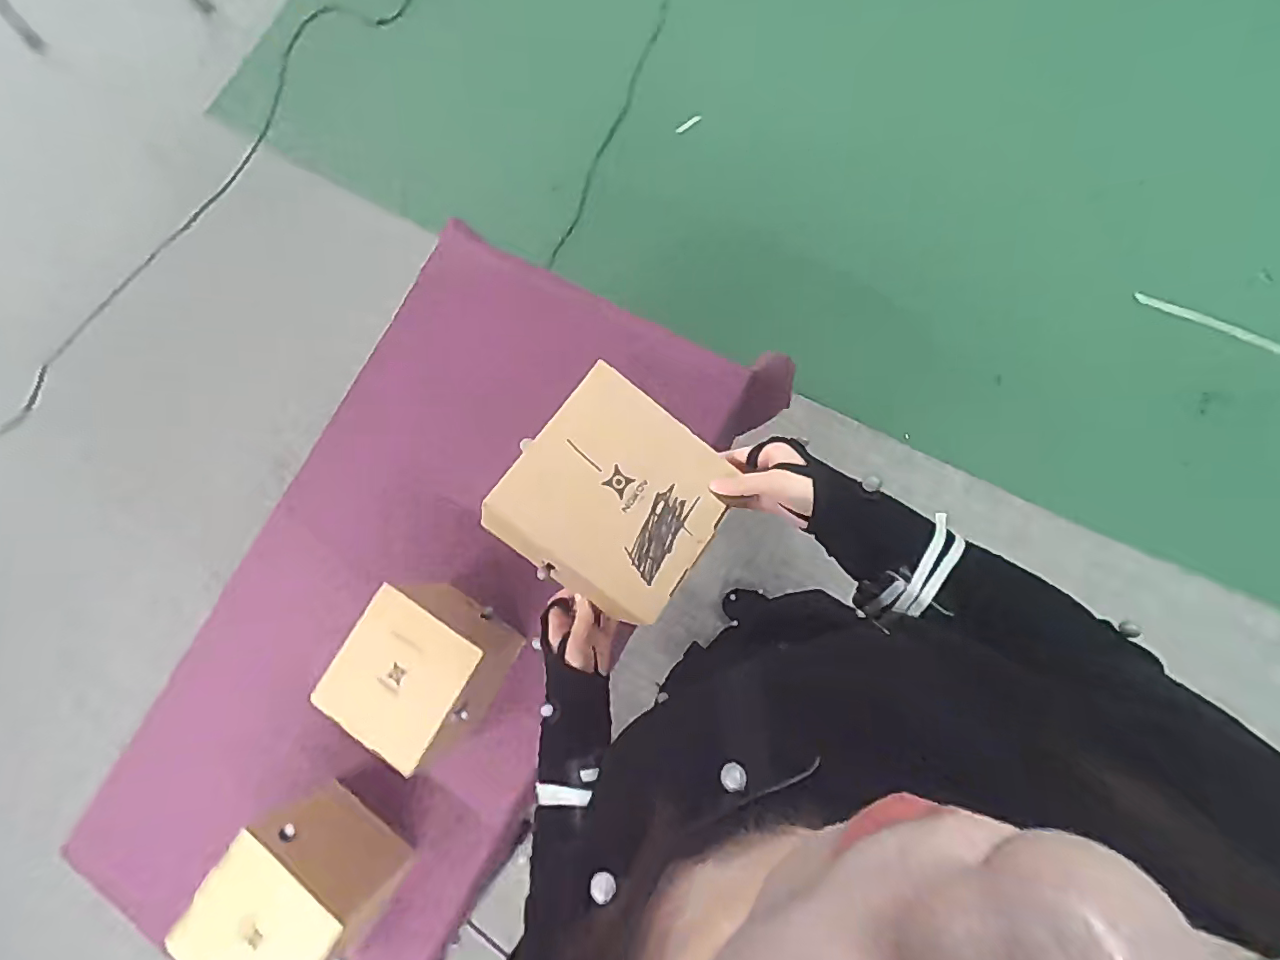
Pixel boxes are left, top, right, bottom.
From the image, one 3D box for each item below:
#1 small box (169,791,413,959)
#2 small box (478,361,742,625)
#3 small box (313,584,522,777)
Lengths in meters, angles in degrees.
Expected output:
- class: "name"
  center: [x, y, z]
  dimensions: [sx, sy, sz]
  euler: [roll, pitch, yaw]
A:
- class: "small box"
  center: [-0.445, 0.556, 0.718]
  dimensions: [0.179, 0.176, 0.168]
  euler: [31, 85, 14]
- class: "small box"
  center: [-0.038, 0.021, 0.537]
  dimensions: [0.179, 0.176, 0.168]
  euler: [38, 71, -6]
- class: "small box"
  center: [-0.291, 0.261, 0.750]
  dimensions: [0.168, 0.176, 0.179]
  euler: [30, 85, 12]
